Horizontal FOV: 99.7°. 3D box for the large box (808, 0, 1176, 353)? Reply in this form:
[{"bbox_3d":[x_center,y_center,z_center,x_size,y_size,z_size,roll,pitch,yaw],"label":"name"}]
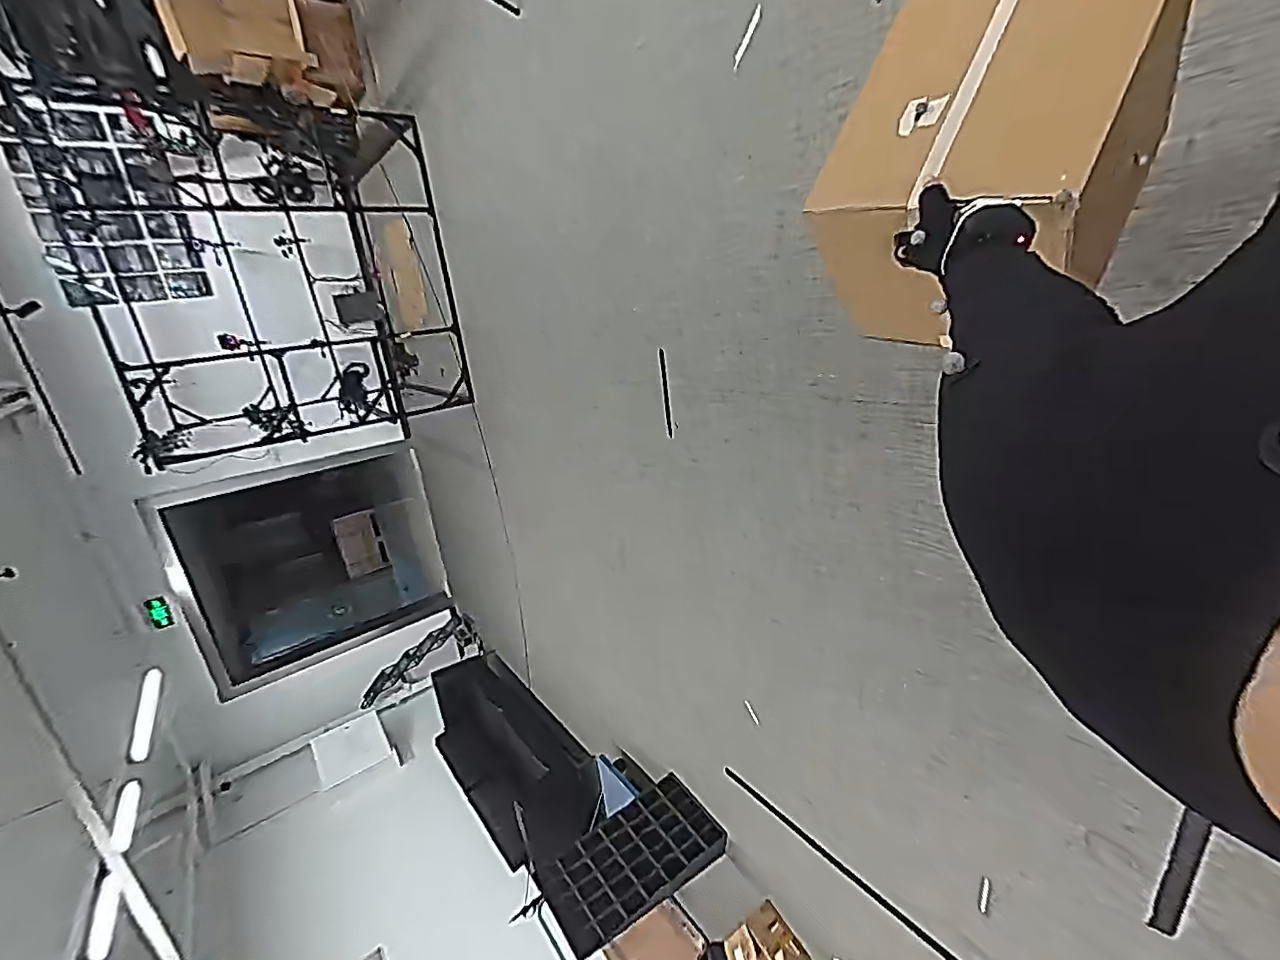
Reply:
[{"bbox_3d":[0.510,-0.454,0.792,0.320,0.320,0.408,22,84,42],"label":"large box"}]
